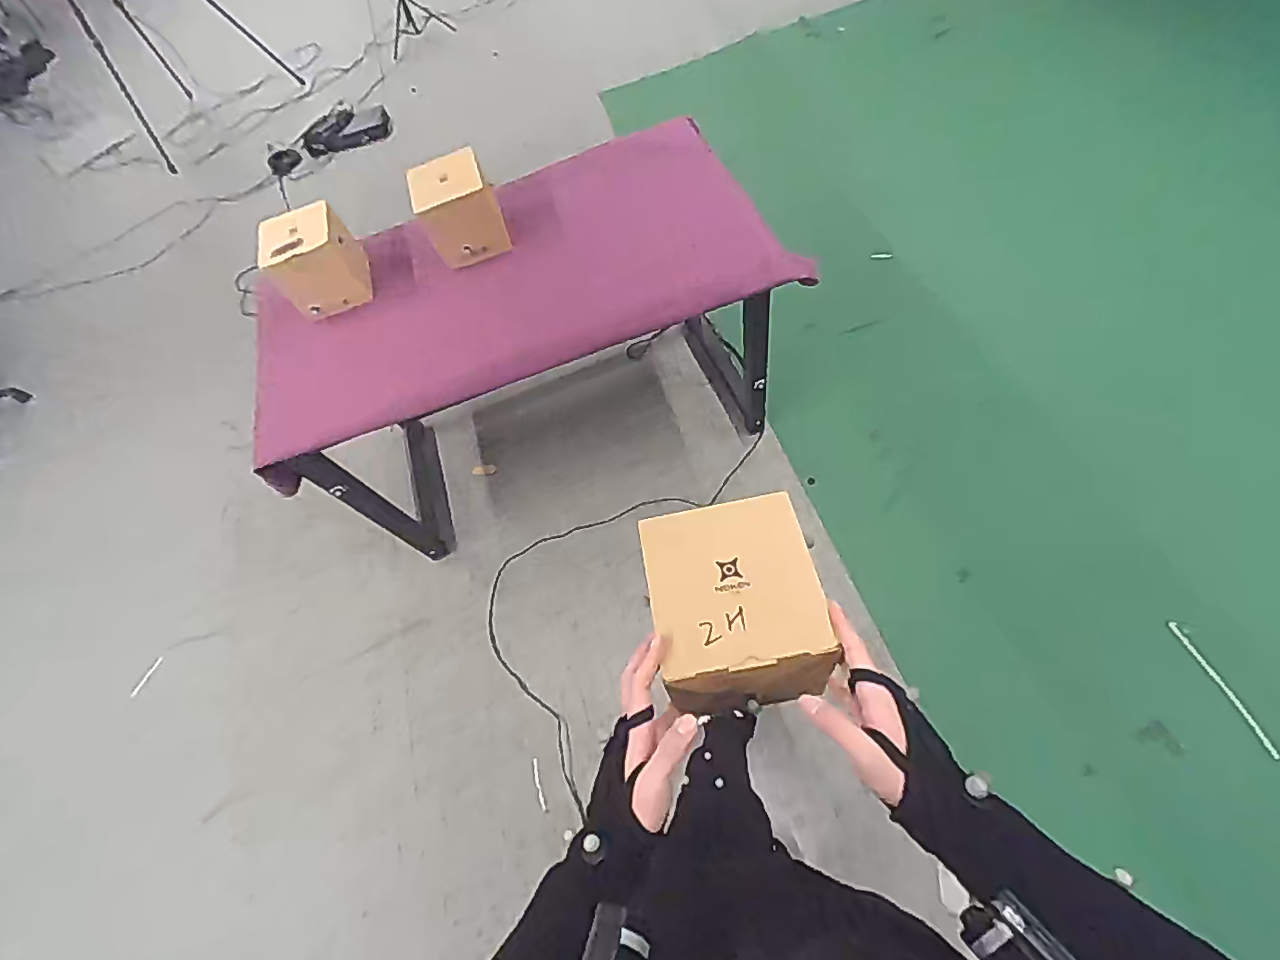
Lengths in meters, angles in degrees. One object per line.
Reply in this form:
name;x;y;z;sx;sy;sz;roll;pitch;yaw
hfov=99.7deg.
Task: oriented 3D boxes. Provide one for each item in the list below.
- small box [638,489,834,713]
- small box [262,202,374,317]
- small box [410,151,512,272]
small box;0.098;0.138;0.599;0.168;0.176;0.179;-12;53;4
small box;-0.761;-0.516;1.293;0.168;0.176;0.179;-21;60;-1
small box;-0.424;-0.637;1.292;0.168;0.176;0.179;-20;61;1
